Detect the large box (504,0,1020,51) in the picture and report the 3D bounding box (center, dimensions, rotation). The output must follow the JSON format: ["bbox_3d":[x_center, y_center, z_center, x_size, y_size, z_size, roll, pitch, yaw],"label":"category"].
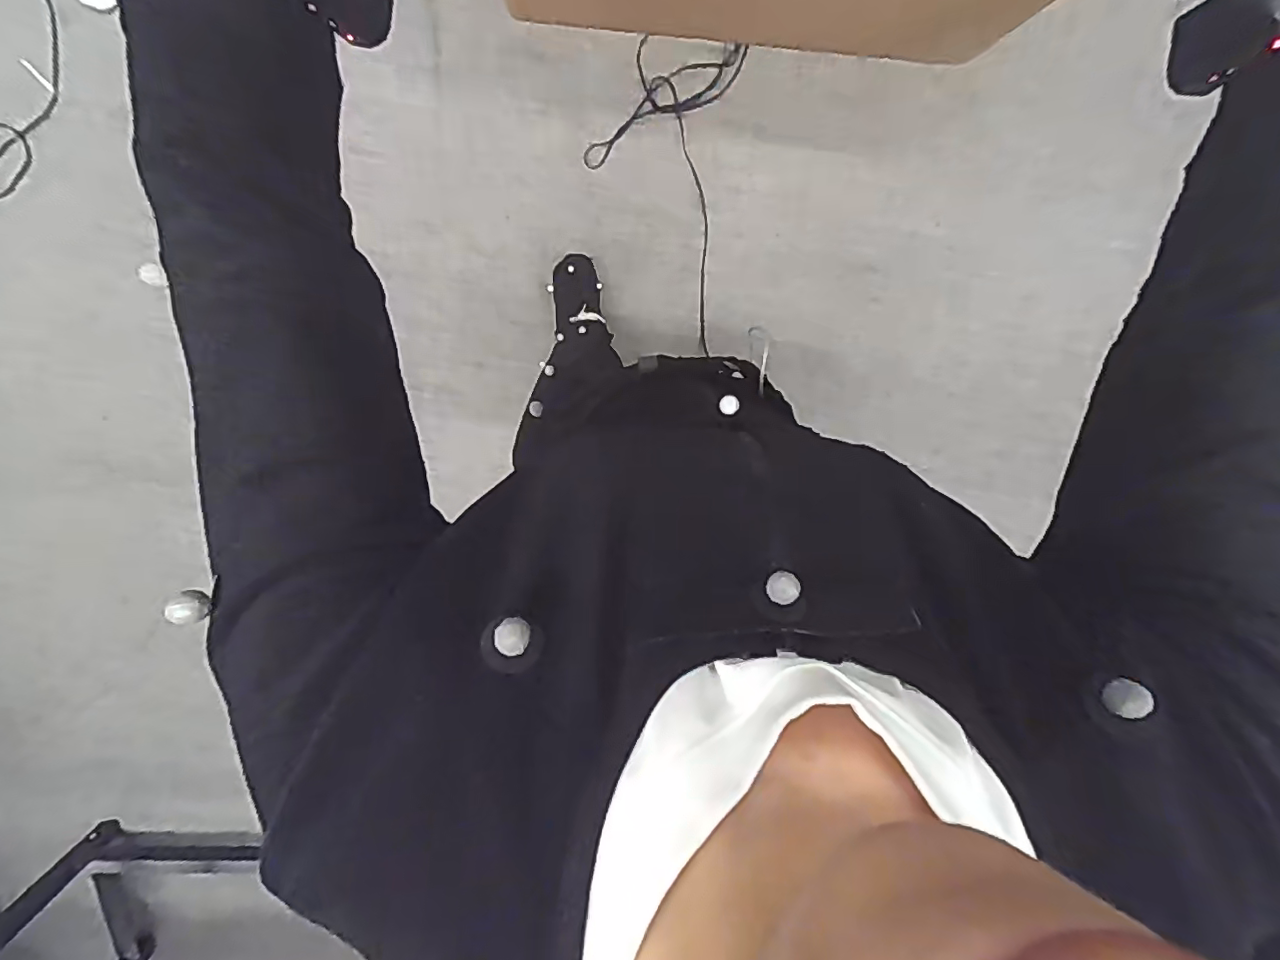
[{"bbox_3d":[0.095,-0.483,0.285,0.408,0.320,0.320,3,109,-3],"label":"large box"}]
